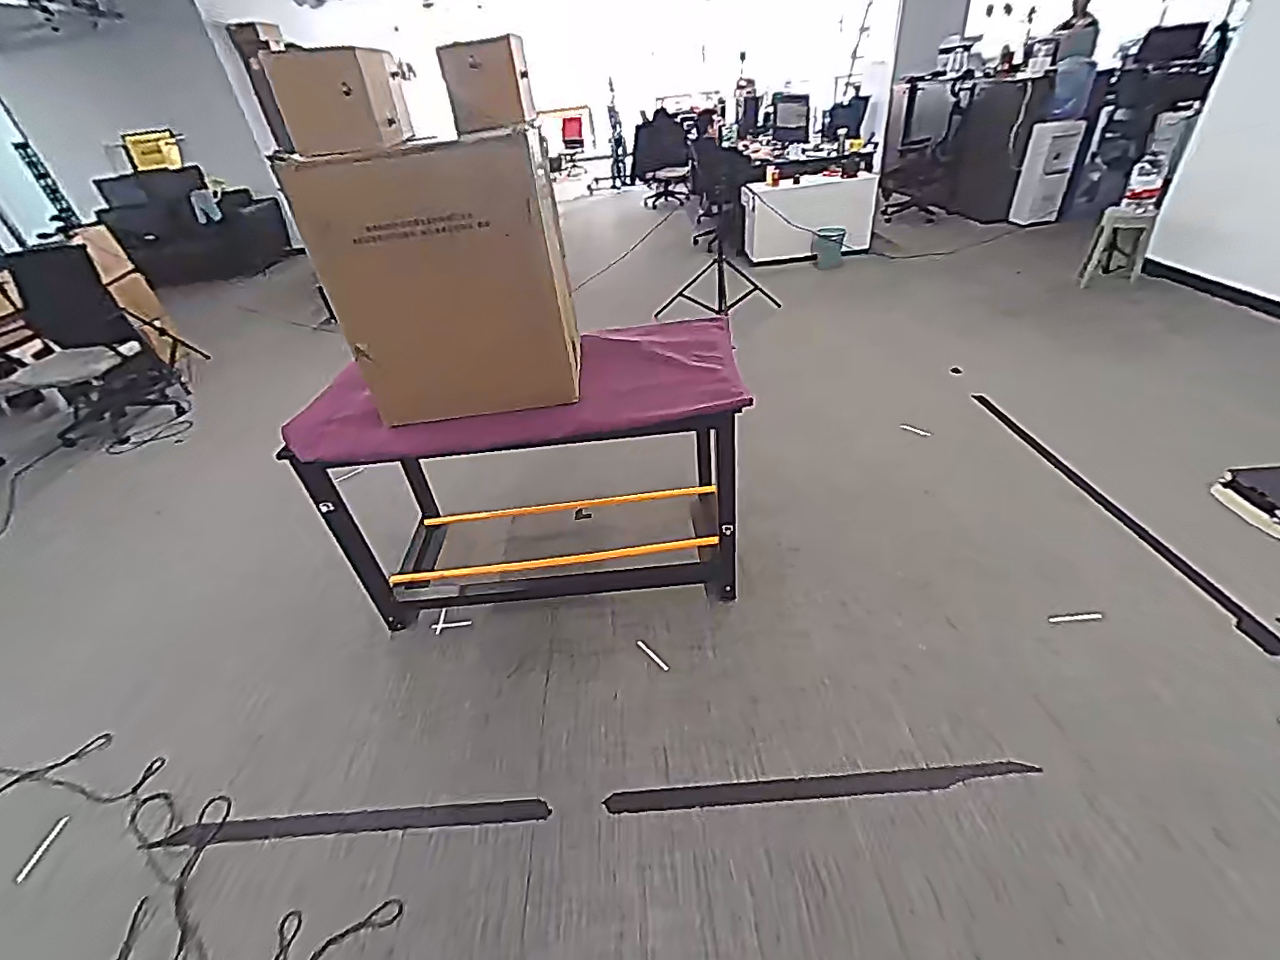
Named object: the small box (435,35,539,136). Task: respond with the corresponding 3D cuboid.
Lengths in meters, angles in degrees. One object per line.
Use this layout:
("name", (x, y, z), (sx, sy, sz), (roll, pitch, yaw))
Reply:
("small box", (-0.351, -0.934, 1.284), (0.179, 0.176, 0.168), (-5, 36, 5))
